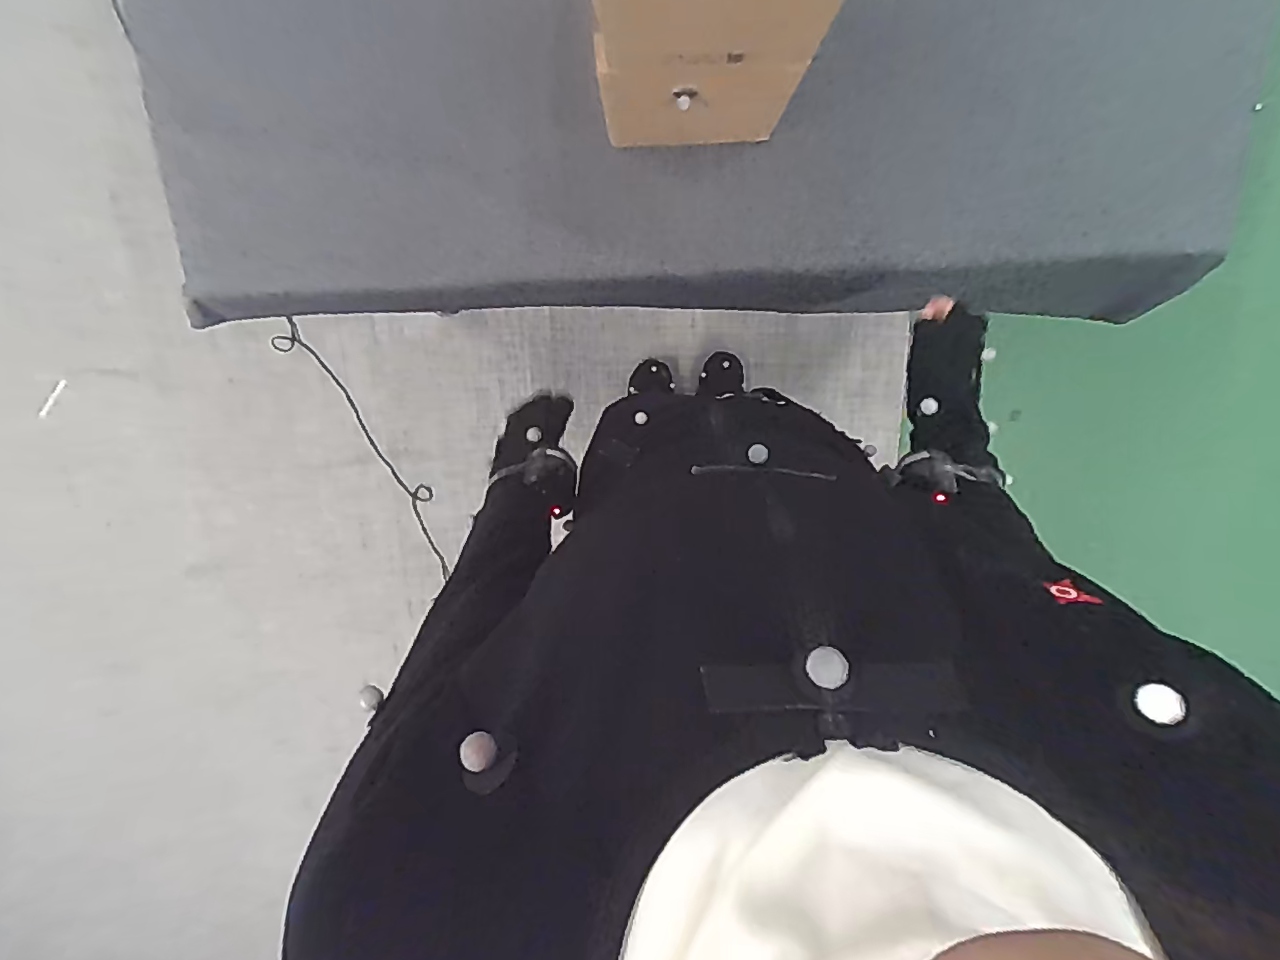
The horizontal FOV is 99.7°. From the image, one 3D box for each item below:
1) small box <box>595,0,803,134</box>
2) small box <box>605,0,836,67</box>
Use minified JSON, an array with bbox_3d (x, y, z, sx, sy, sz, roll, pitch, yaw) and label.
[{"bbox_3d":[0.052,-0.446,0.507,0.179,0.176,0.168,-1,104,1],"label":"small box"},{"bbox_3d":[0.054,-0.411,0.350,0.168,0.176,0.179,-3,105,1],"label":"small box"}]
